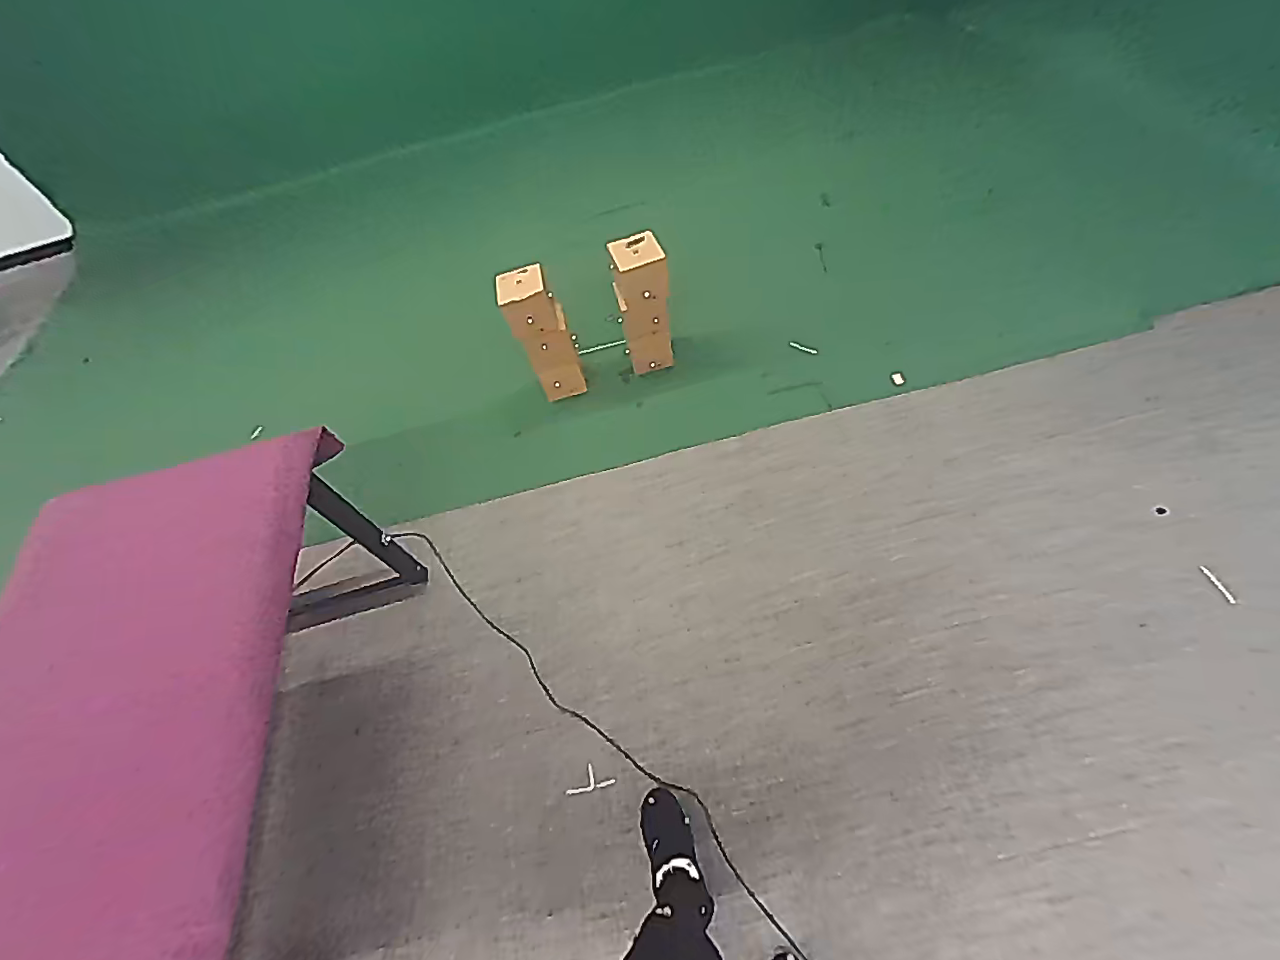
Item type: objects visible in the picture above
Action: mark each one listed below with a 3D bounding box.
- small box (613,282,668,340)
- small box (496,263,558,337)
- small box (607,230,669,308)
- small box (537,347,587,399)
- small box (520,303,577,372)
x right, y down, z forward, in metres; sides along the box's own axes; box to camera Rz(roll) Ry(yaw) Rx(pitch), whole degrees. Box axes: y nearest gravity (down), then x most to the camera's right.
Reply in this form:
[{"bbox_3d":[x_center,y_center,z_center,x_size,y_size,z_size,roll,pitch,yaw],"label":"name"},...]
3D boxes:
[{"bbox_3d":[0.005,-0.659,2.070,0.168,0.176,0.179,-15,55,0],"label":"small box"},{"bbox_3d":[-0.403,-0.635,1.938,0.168,0.176,0.179,-16,55,2],"label":"small box"},{"bbox_3d":[-0.005,-0.751,1.934,0.168,0.176,0.179,-20,57,-3],"label":"small box"},{"bbox_3d":[-0.322,-0.453,2.200,0.168,0.176,0.179,-16,54,1],"label":"small box"},{"bbox_3d":[-0.353,-0.539,2.063,0.179,0.176,0.168,-16,55,1],"label":"small box"}]
